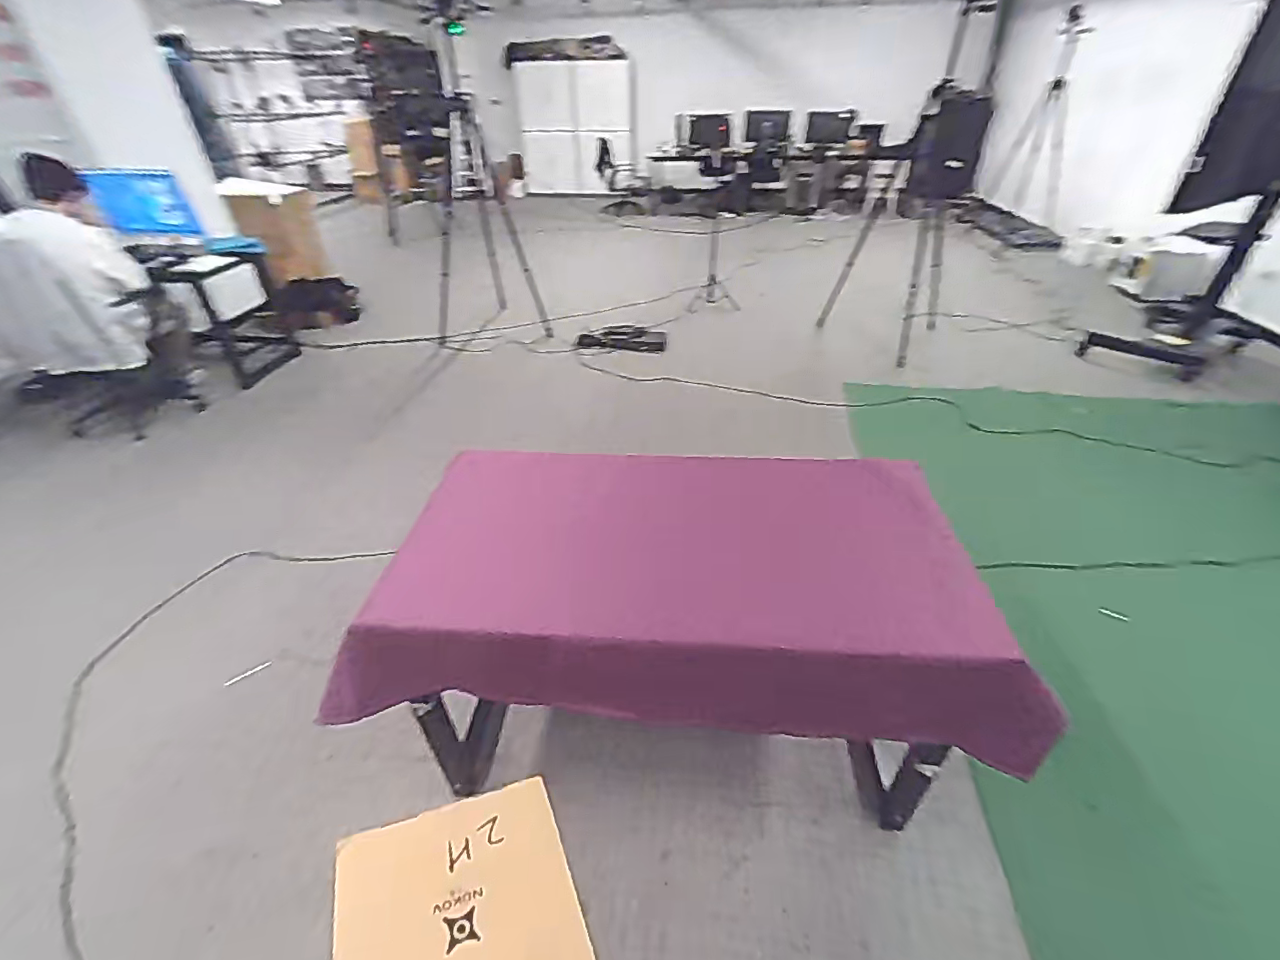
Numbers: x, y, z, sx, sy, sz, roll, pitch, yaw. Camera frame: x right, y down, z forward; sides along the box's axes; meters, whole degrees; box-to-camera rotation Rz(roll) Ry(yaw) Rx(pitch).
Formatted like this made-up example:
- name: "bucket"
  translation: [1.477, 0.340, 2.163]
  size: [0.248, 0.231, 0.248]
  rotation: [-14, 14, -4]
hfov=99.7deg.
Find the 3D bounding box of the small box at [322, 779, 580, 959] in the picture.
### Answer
- name: "small box"
  translation: [-0.149, 0.391, 0.431]
  size: [0.168, 0.176, 0.179]
  rotation: [-5, 29, -25]
